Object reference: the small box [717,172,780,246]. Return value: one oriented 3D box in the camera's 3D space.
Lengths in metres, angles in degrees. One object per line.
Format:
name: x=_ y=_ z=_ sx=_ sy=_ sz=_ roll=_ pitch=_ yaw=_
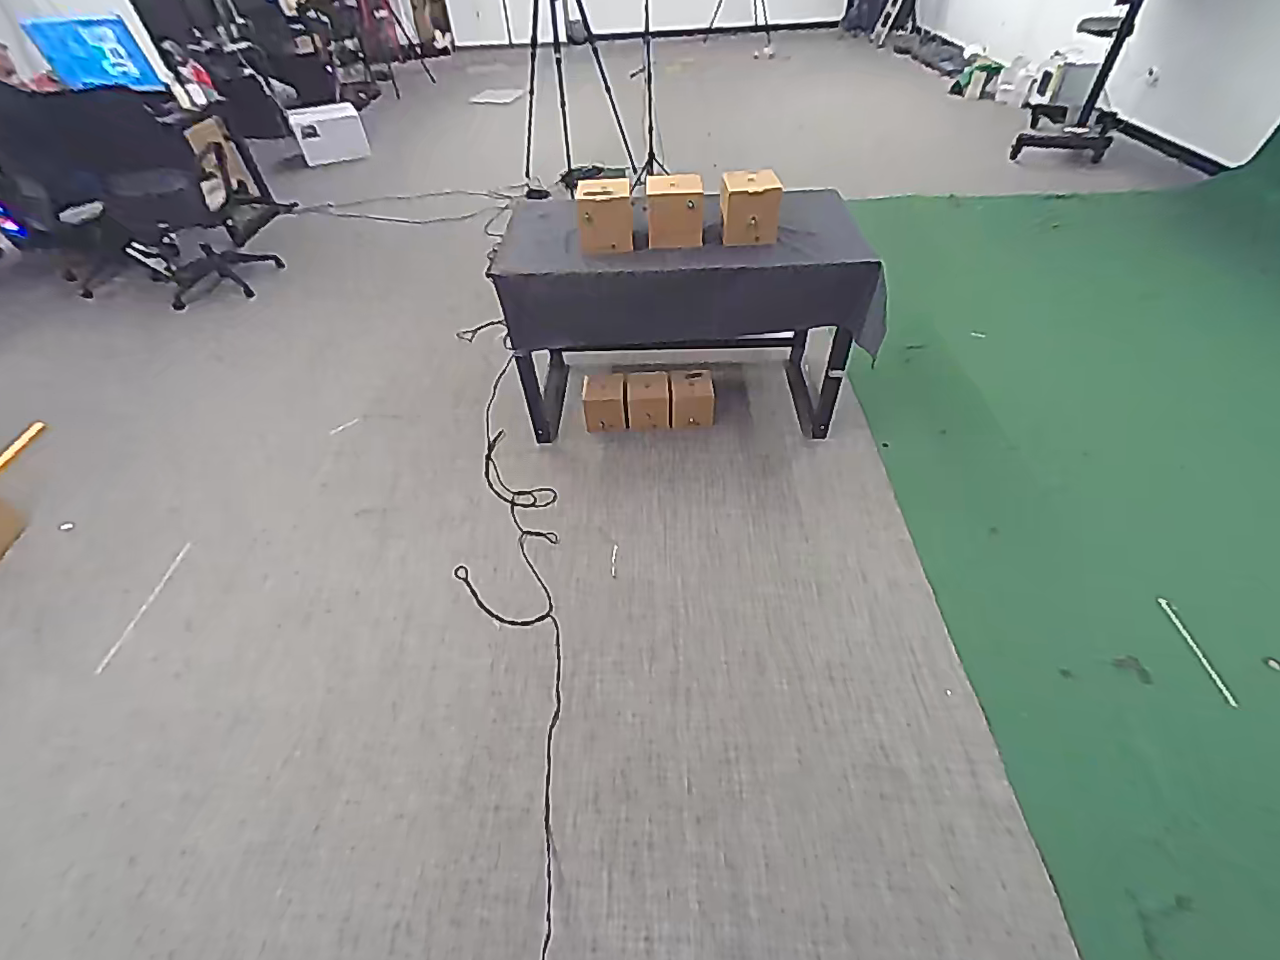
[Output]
small box: x=0.343 y=-0.865 z=1.734 sx=0.168 sy=0.176 sz=0.179 roll=-2 pitch=47 yaw=1
